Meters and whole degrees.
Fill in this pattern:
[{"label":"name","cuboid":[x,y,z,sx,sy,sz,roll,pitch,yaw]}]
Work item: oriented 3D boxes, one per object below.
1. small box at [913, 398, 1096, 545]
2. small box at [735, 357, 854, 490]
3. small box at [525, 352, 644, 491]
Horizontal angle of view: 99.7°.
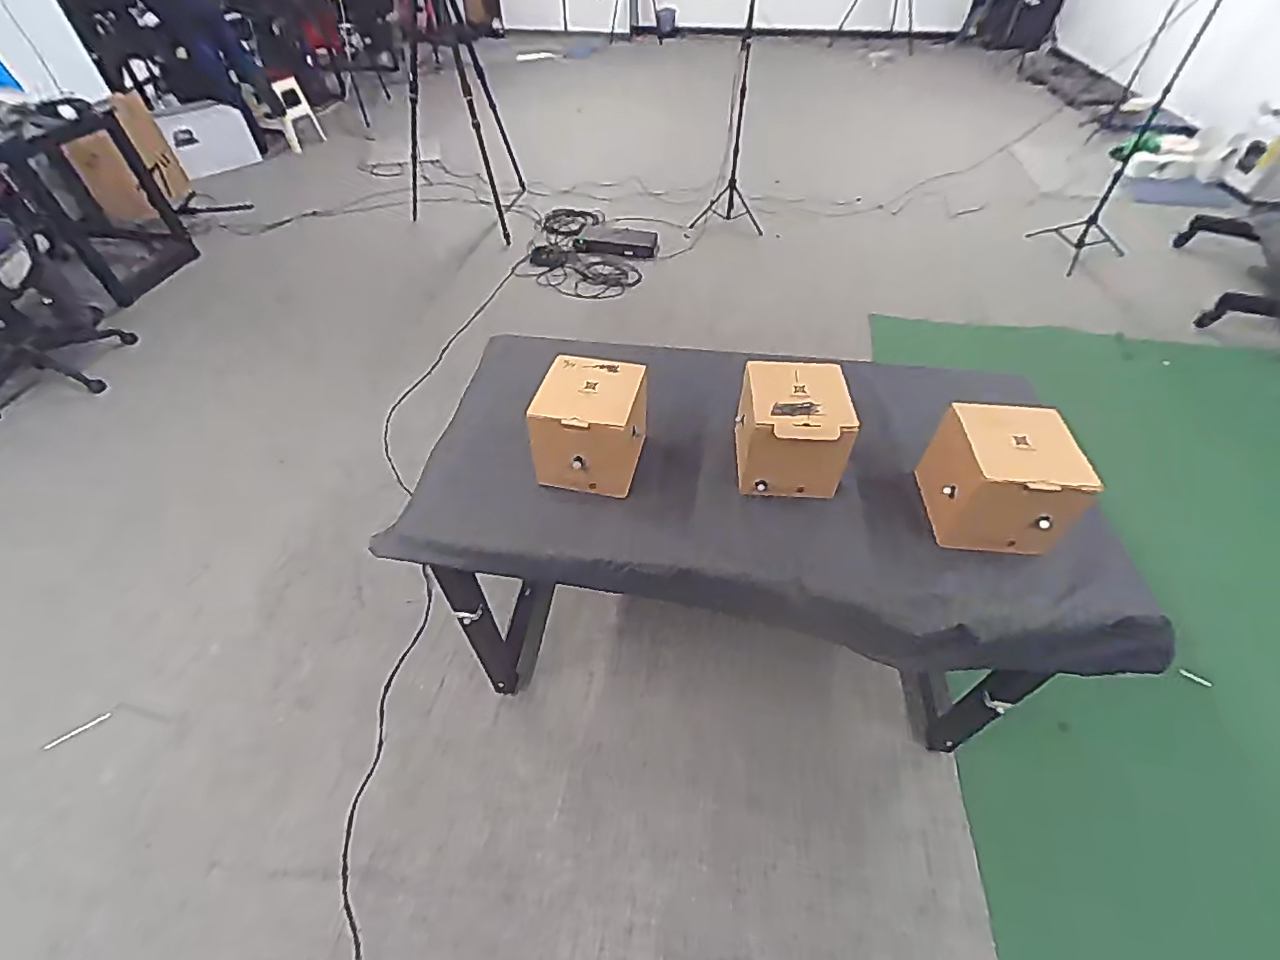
[{"label":"small box","cuboid":[0.576,-0.011,0.886,0.168,0.176,0.179,4,47,3]},{"label":"small box","cuboid":[0.264,-0.098,0.965,0.168,0.176,0.179,3,47,3]},{"label":"small box","cuboid":[-0.088,-0.103,0.971,0.168,0.176,0.179,9,48,8]}]
